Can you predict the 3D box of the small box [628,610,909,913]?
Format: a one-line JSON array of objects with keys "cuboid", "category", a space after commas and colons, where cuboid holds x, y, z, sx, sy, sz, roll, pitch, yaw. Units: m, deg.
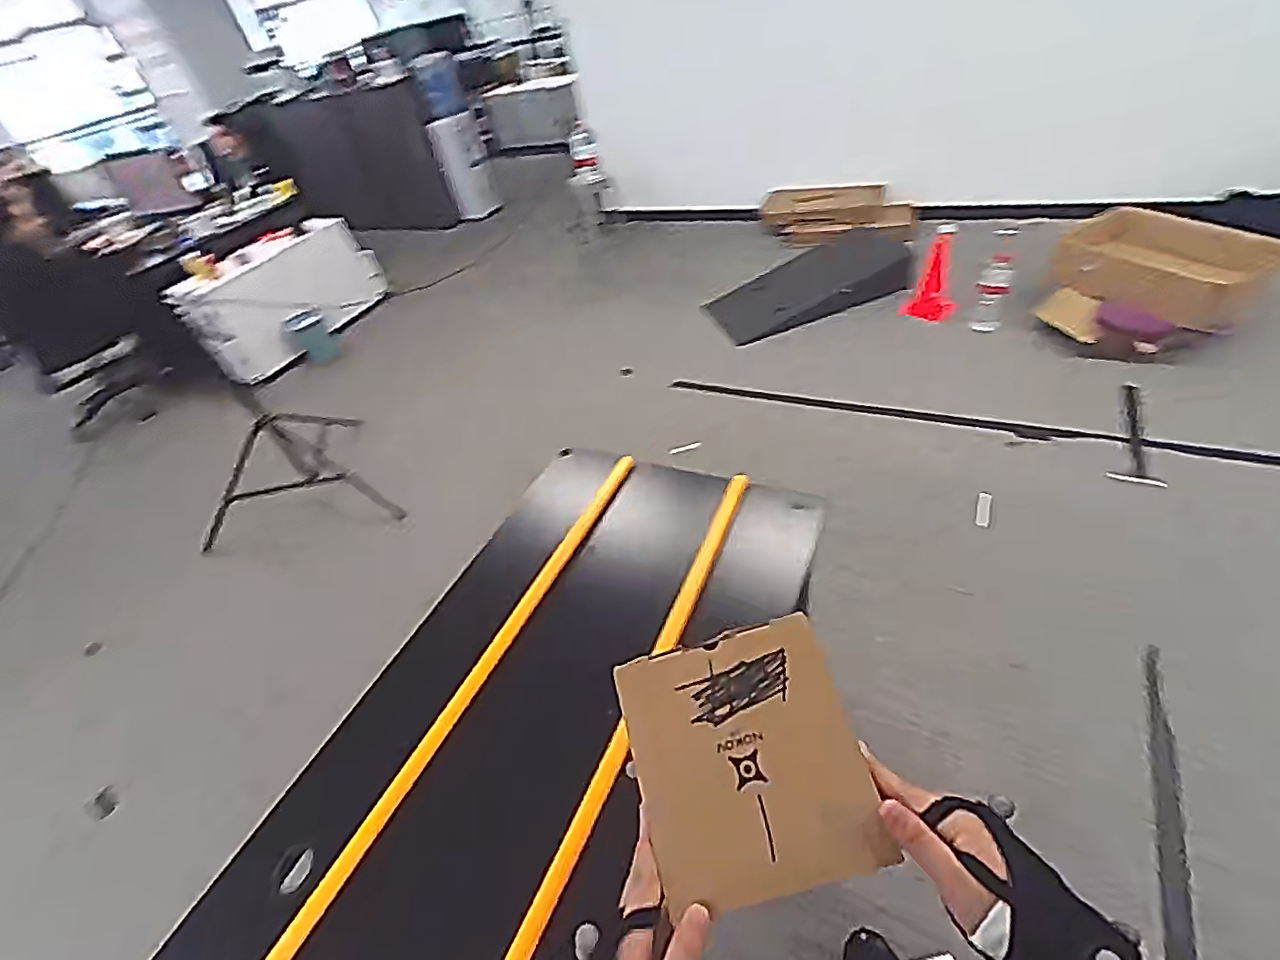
[{"cuboid": [0.095, 0.236, 0.476, 0.168, 0.176, 0.179, -16, 63, 1], "category": "small box"}]
